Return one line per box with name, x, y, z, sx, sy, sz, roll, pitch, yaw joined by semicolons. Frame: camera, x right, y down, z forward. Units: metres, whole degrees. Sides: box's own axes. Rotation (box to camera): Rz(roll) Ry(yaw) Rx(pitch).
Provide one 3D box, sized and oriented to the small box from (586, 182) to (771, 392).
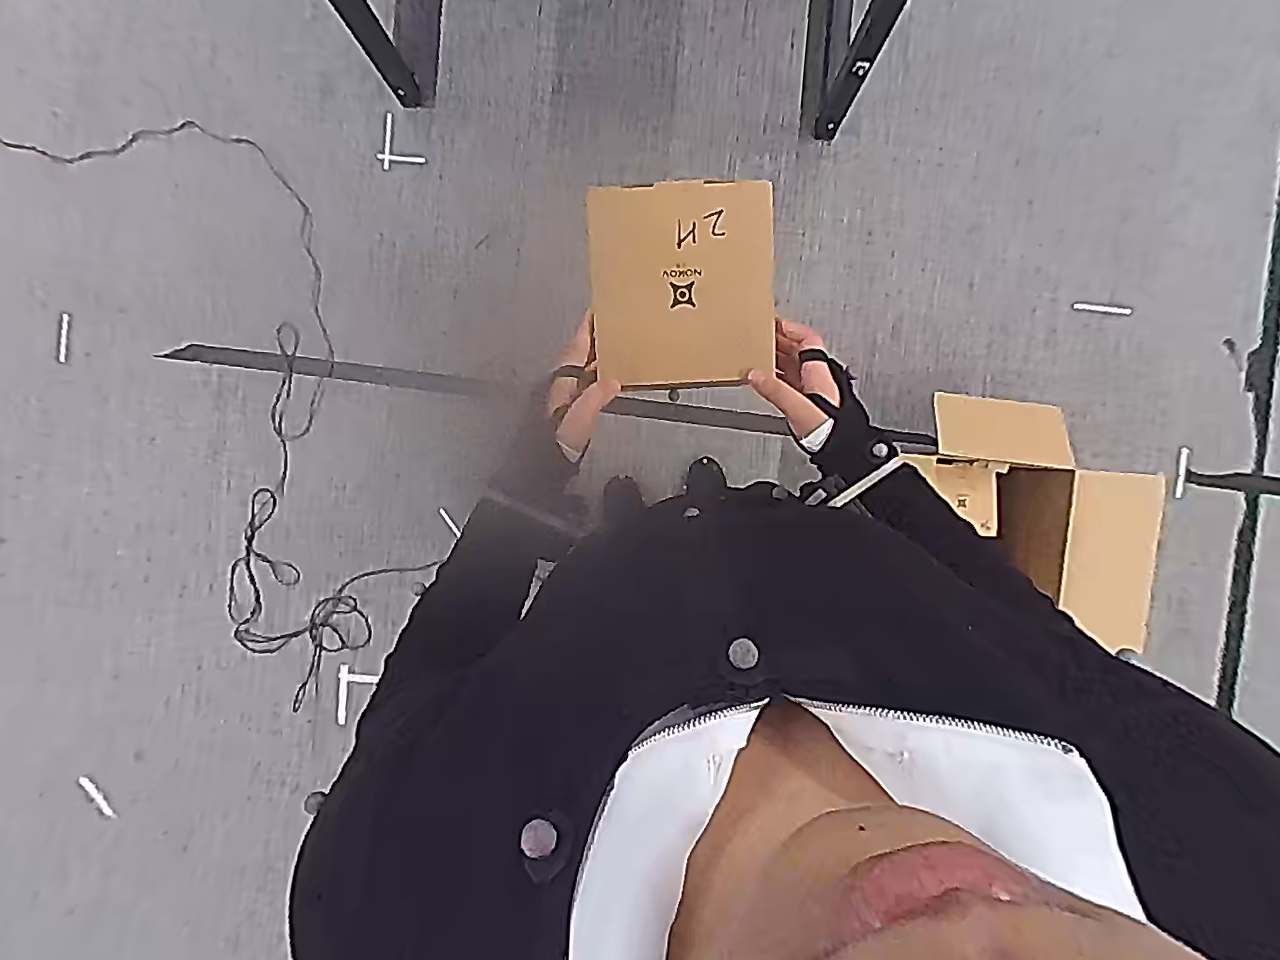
small box;0.036;-0.183;0.564;0.168;0.176;0.179;-3;97;-1
